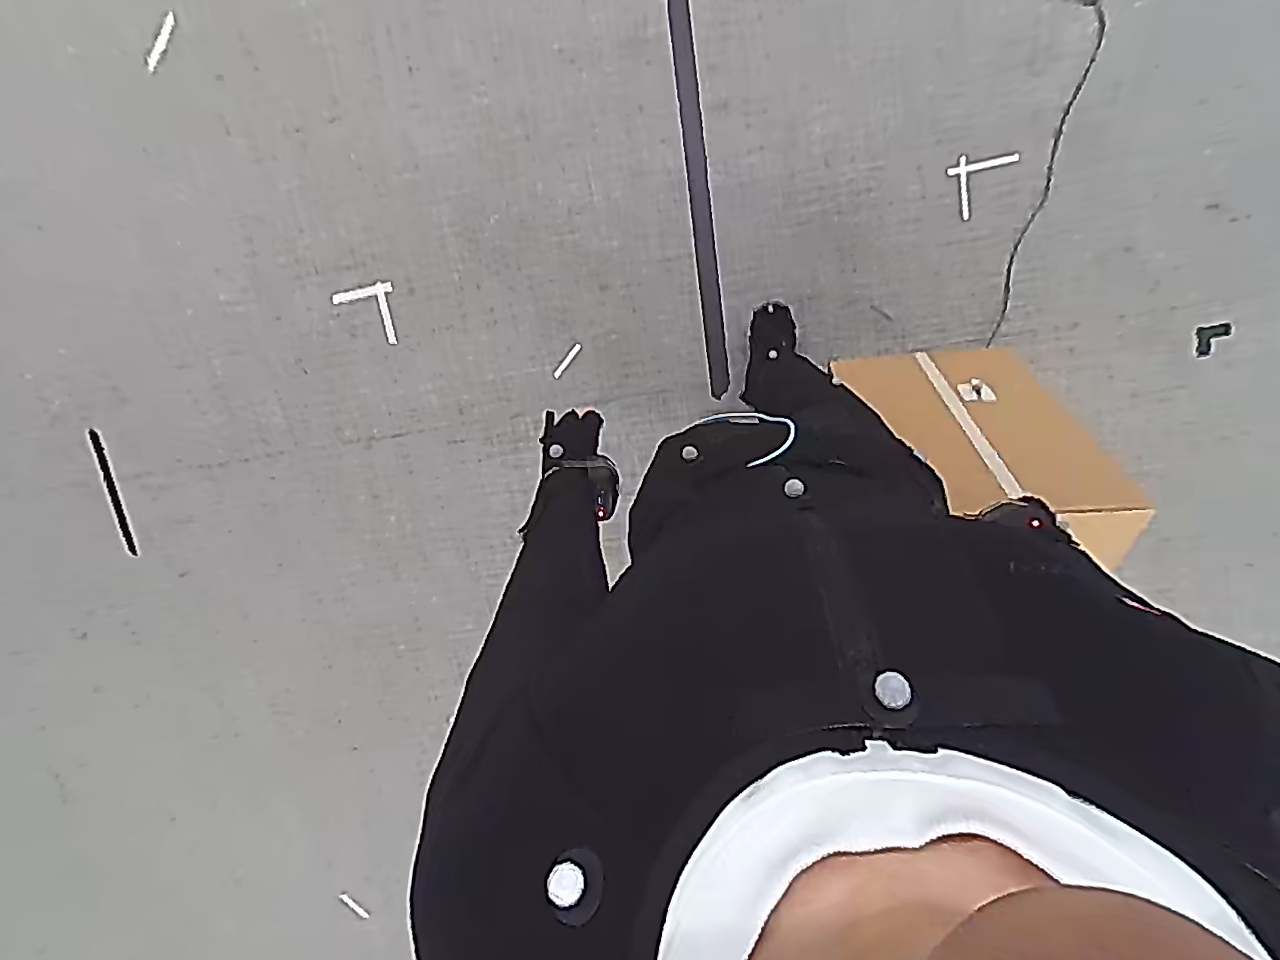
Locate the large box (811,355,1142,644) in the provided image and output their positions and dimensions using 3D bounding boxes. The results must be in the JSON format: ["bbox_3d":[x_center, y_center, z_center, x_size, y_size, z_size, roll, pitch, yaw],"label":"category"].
[{"bbox_3d":[0.506,0.025,0.939,0.320,0.408,0.320,-3,130,4],"label":"large box"}]
